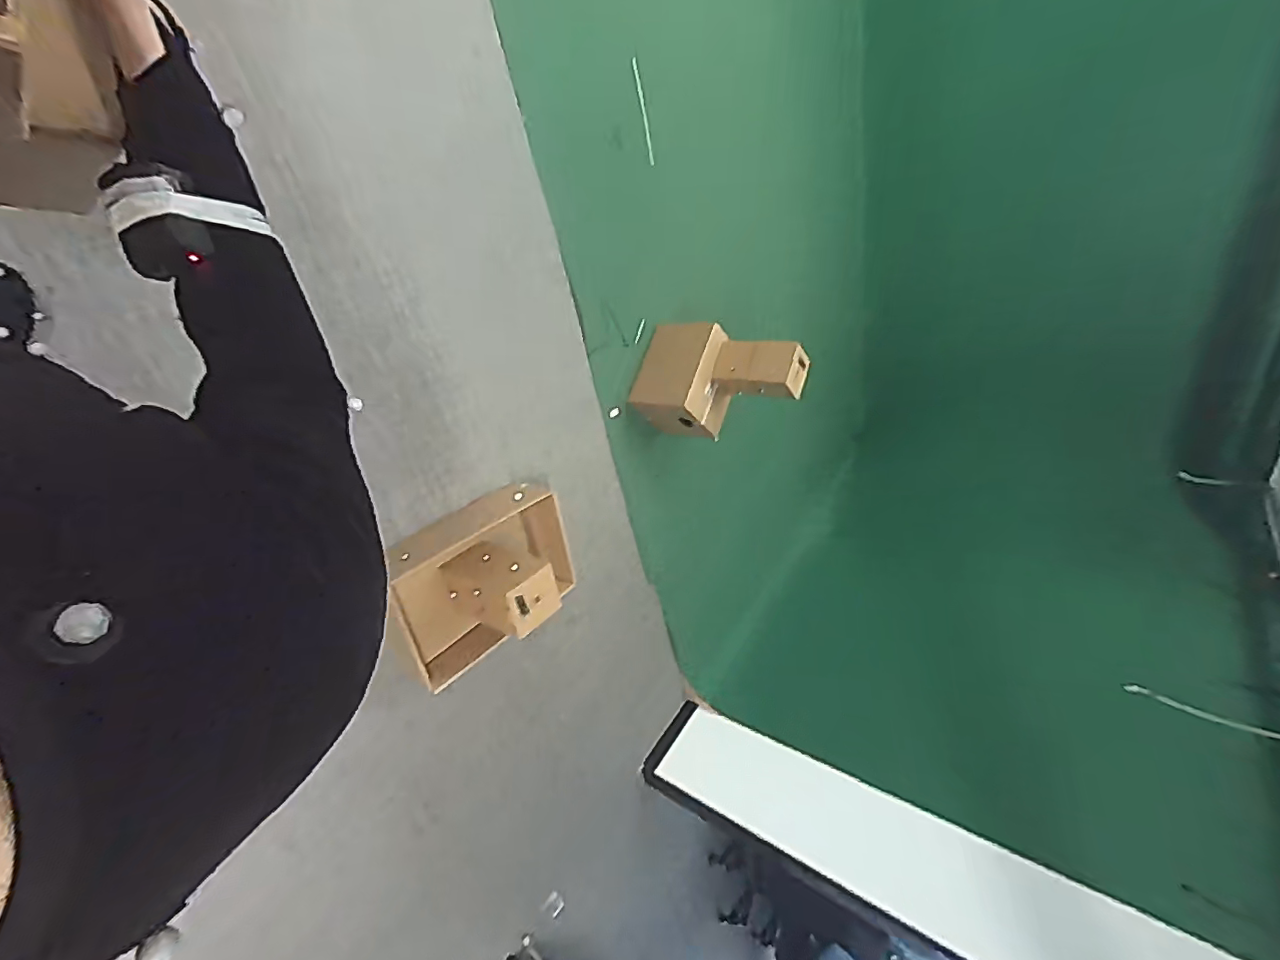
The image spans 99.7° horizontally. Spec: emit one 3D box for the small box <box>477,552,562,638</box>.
[{"bbox_3d":[-0.368,0.341,1.631,0.179,0.176,0.168,-34,124,-44],"label":"small box"}]

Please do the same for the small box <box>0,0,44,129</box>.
[{"bbox_3d":[-0.365,-0.281,0.215,0.168,0.176,0.179,-3,104,-48],"label":"small box"}]

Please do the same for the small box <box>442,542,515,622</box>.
[{"bbox_3d":[-0.497,0.319,1.732,0.179,0.176,0.168,-34,123,-42],"label":"small box"}]
